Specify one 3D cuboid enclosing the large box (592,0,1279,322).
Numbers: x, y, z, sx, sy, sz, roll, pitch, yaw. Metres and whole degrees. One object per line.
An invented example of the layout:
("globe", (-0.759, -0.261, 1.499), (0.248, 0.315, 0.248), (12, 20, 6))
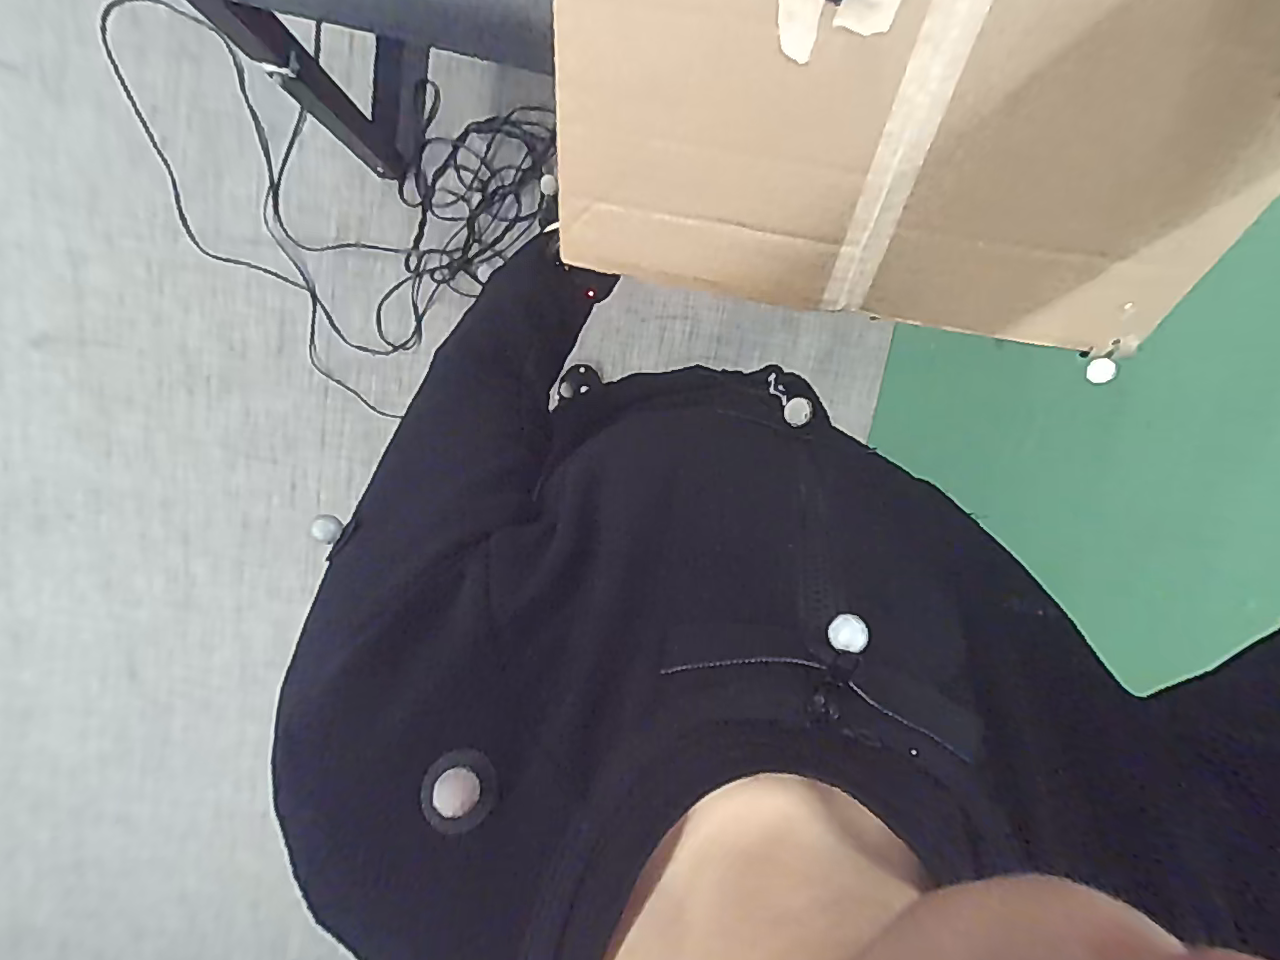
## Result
("large box", (0.159, -0.351, 0.259), (0.320, 0.320, 0.408), (10, 140, 4))
